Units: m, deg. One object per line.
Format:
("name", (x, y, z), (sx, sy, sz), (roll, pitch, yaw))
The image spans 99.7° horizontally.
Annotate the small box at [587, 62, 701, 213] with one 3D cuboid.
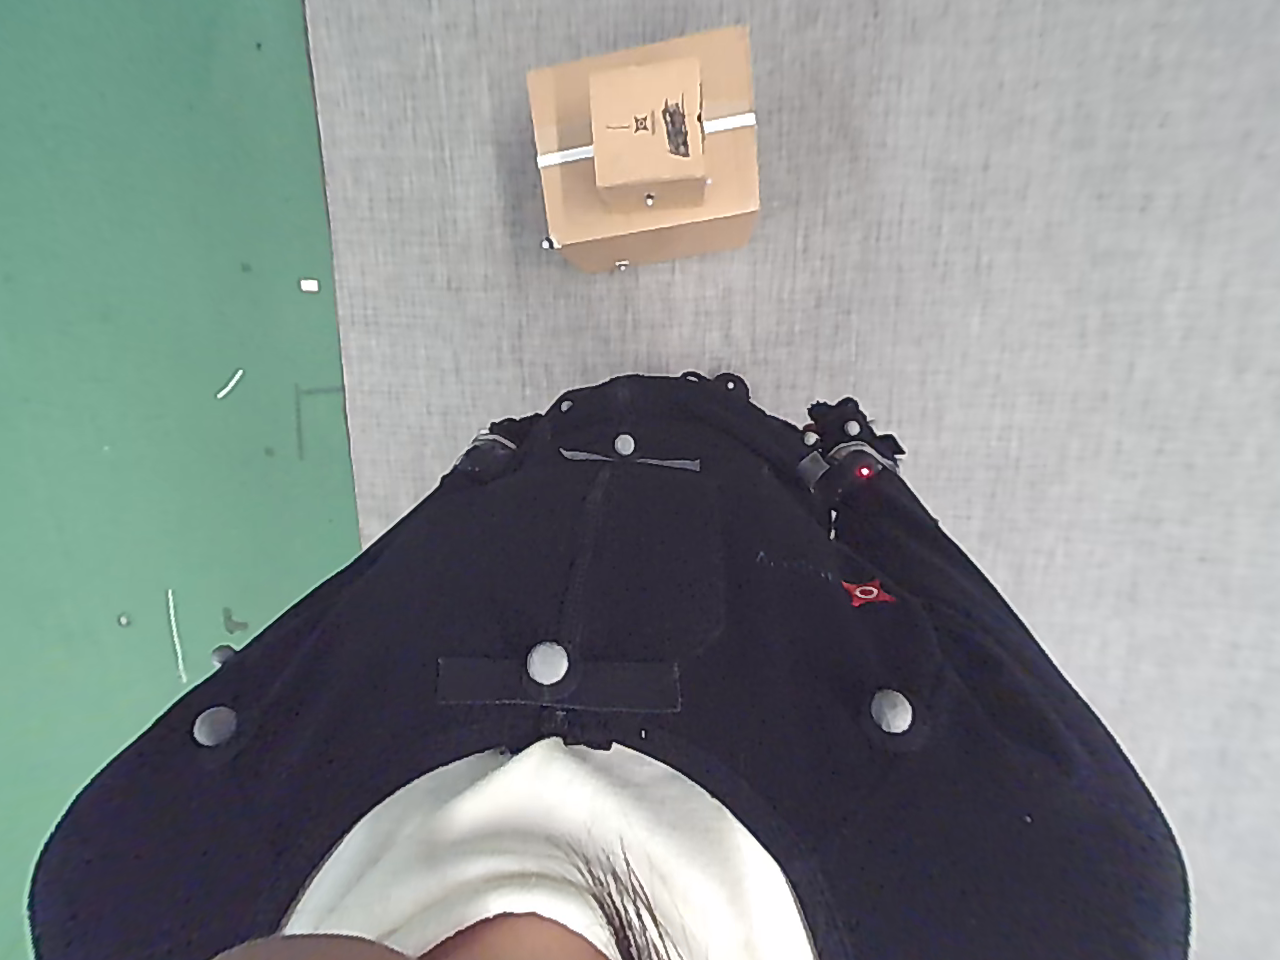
("small box", (0.015, -0.575, 0.931), (0.179, 0.176, 0.168), (-2, 101, 8))
